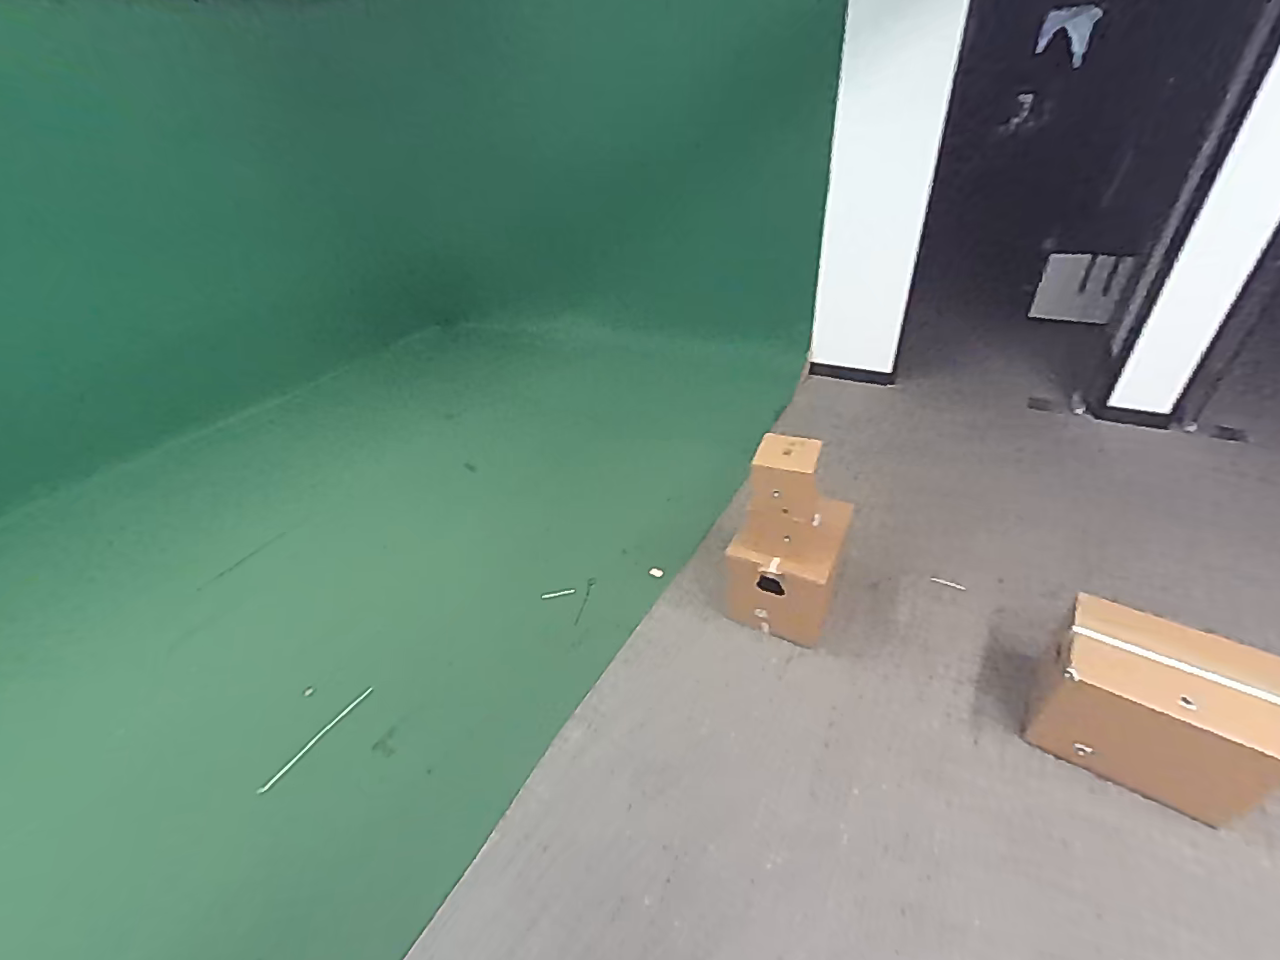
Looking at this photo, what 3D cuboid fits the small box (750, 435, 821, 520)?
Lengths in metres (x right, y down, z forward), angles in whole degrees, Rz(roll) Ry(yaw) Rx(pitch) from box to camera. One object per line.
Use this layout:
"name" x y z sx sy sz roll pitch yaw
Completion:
"small box" 0.421 -0.008 1.576 0.168 0.176 0.179 12 39 22

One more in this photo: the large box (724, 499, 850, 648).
"large box" 0.500 0.289 1.852 0.320 0.320 0.408 15 40 26

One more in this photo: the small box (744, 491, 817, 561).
"small box" 0.431 0.127 1.669 0.179 0.176 0.168 14 39 26
